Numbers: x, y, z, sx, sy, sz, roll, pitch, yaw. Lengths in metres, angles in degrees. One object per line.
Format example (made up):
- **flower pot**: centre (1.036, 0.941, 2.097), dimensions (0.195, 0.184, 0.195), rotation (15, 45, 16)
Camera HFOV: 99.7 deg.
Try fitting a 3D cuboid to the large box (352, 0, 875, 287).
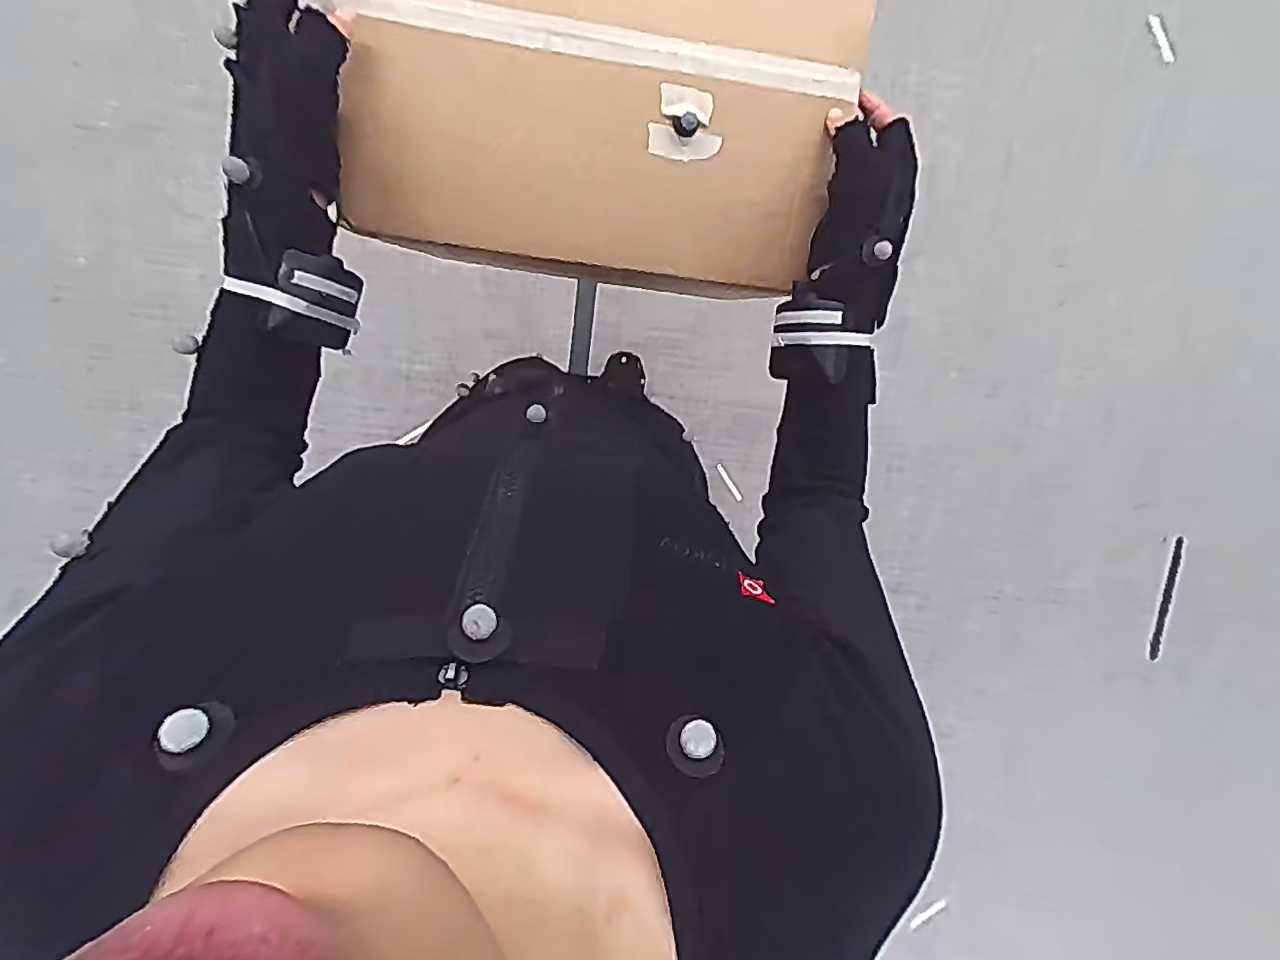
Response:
- **large box**: centre (-0.031, -0.388, 0.563), dimensions (0.408, 0.320, 0.320), rotation (5, 108, -7)
